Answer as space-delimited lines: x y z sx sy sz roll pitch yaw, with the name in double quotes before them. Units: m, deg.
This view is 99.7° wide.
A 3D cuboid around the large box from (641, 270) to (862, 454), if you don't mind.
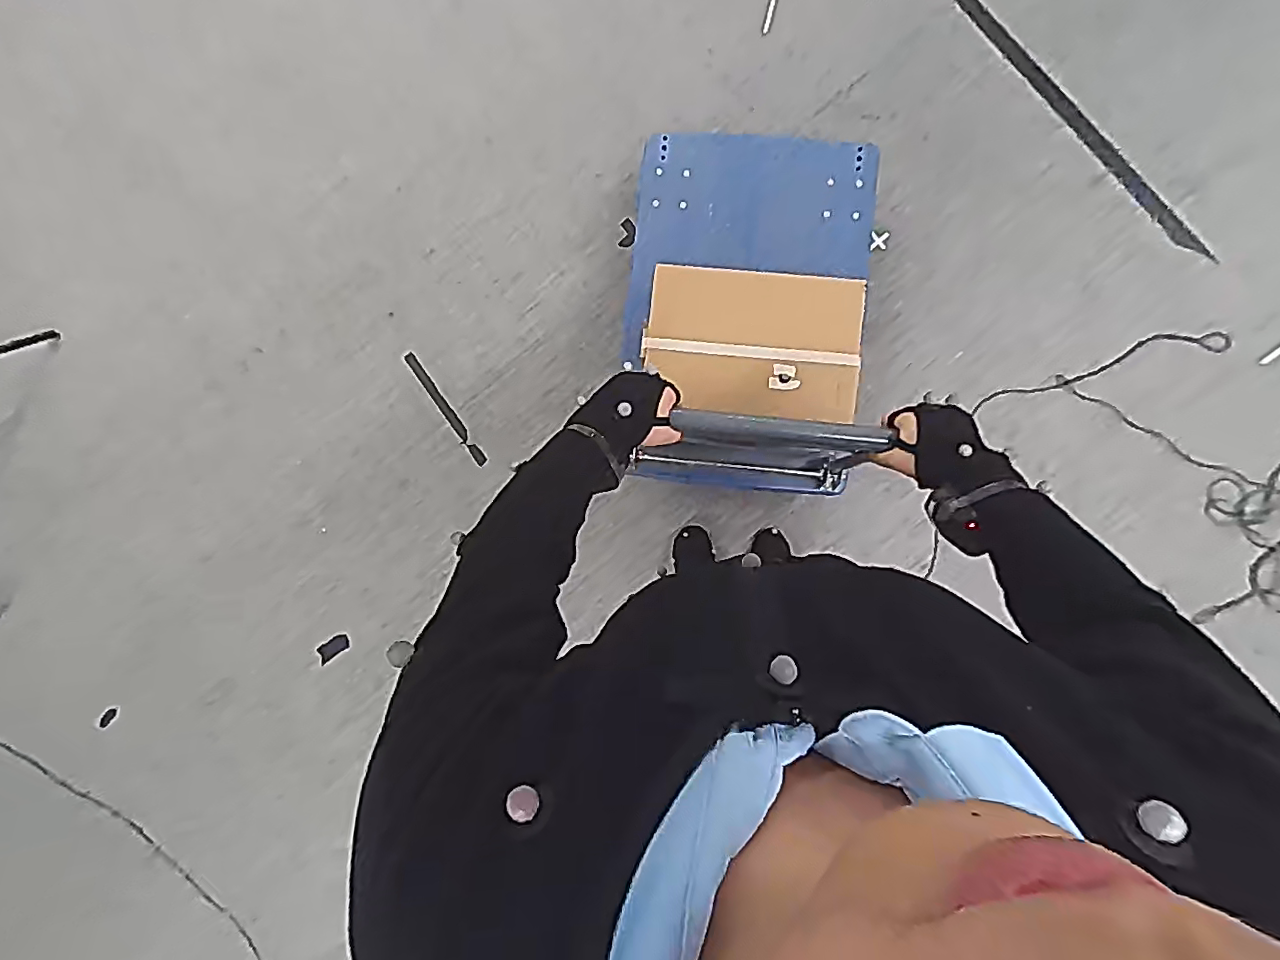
"large box" 0.220 -0.236 1.185 0.408 0.320 0.320 6 90 4
